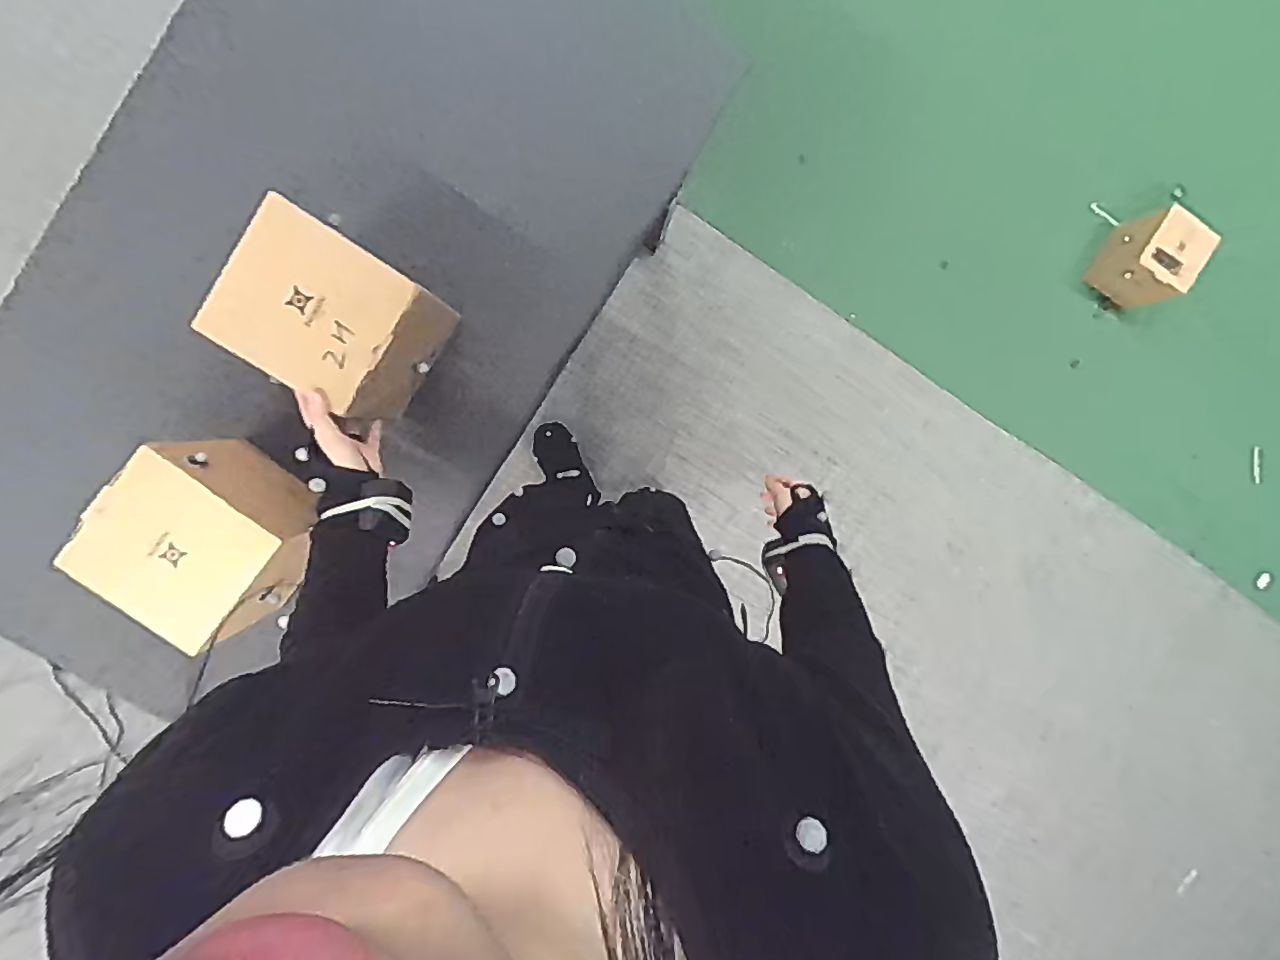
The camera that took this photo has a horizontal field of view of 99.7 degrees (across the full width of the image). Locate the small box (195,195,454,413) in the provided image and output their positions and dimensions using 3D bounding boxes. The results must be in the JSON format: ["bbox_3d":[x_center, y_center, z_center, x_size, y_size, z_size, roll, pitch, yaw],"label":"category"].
[{"bbox_3d":[-0.355,-0.189,0.648,0.179,0.176,0.168,33,93,-7],"label":"small box"}]

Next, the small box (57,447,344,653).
[{"bbox_3d":[-0.511,0.069,0.661,0.179,0.176,0.168,38,92,-6],"label":"small box"}]
